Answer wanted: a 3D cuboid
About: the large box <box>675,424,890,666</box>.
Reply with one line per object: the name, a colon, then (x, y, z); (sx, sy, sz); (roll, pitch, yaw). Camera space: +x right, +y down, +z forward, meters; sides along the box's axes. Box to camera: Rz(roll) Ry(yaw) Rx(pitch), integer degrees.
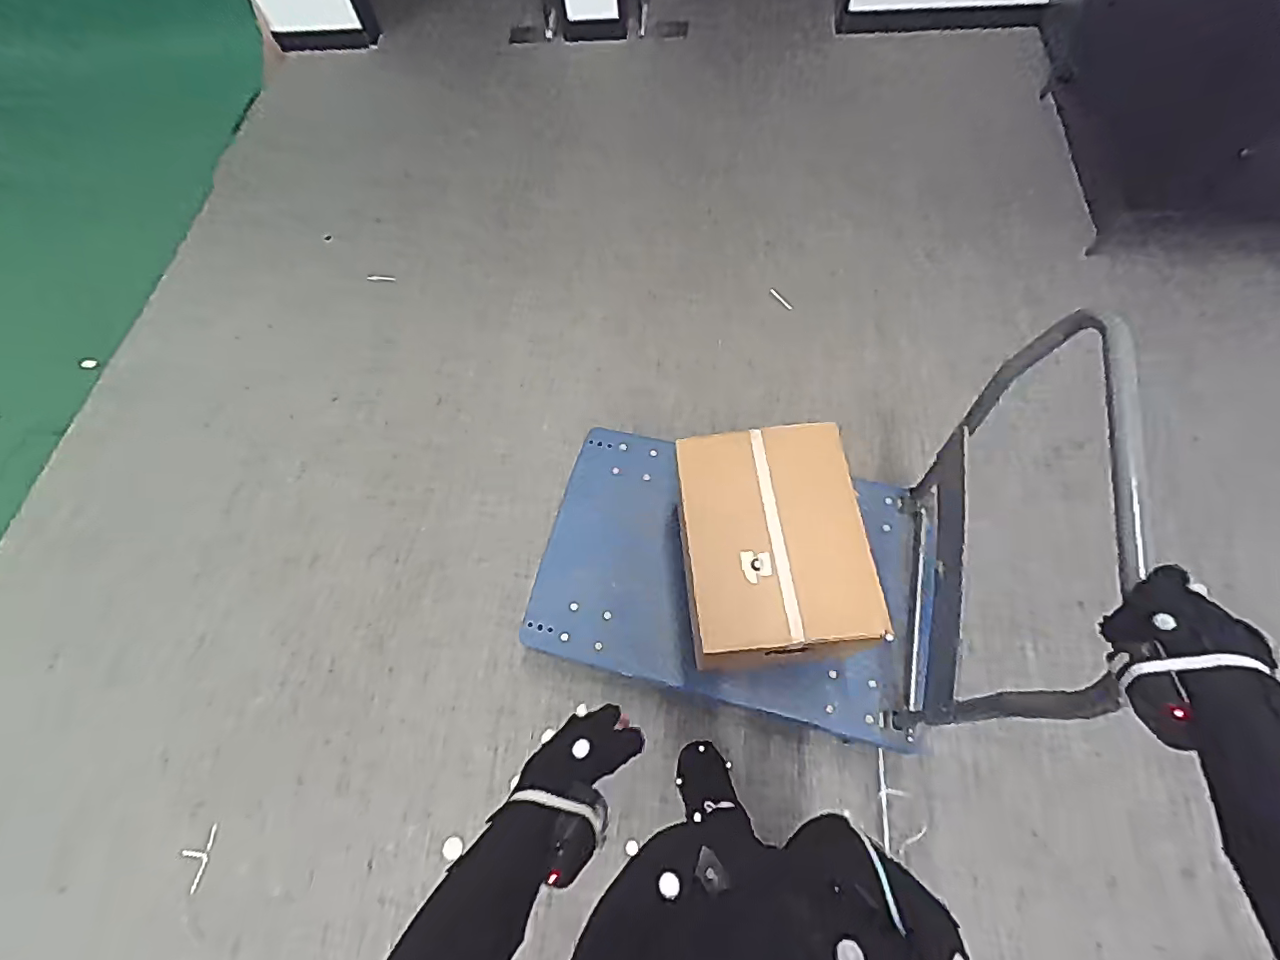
large box: (0.249, 0.145, 1.104); (0.320, 0.320, 0.408); (-6, 66, 2)
